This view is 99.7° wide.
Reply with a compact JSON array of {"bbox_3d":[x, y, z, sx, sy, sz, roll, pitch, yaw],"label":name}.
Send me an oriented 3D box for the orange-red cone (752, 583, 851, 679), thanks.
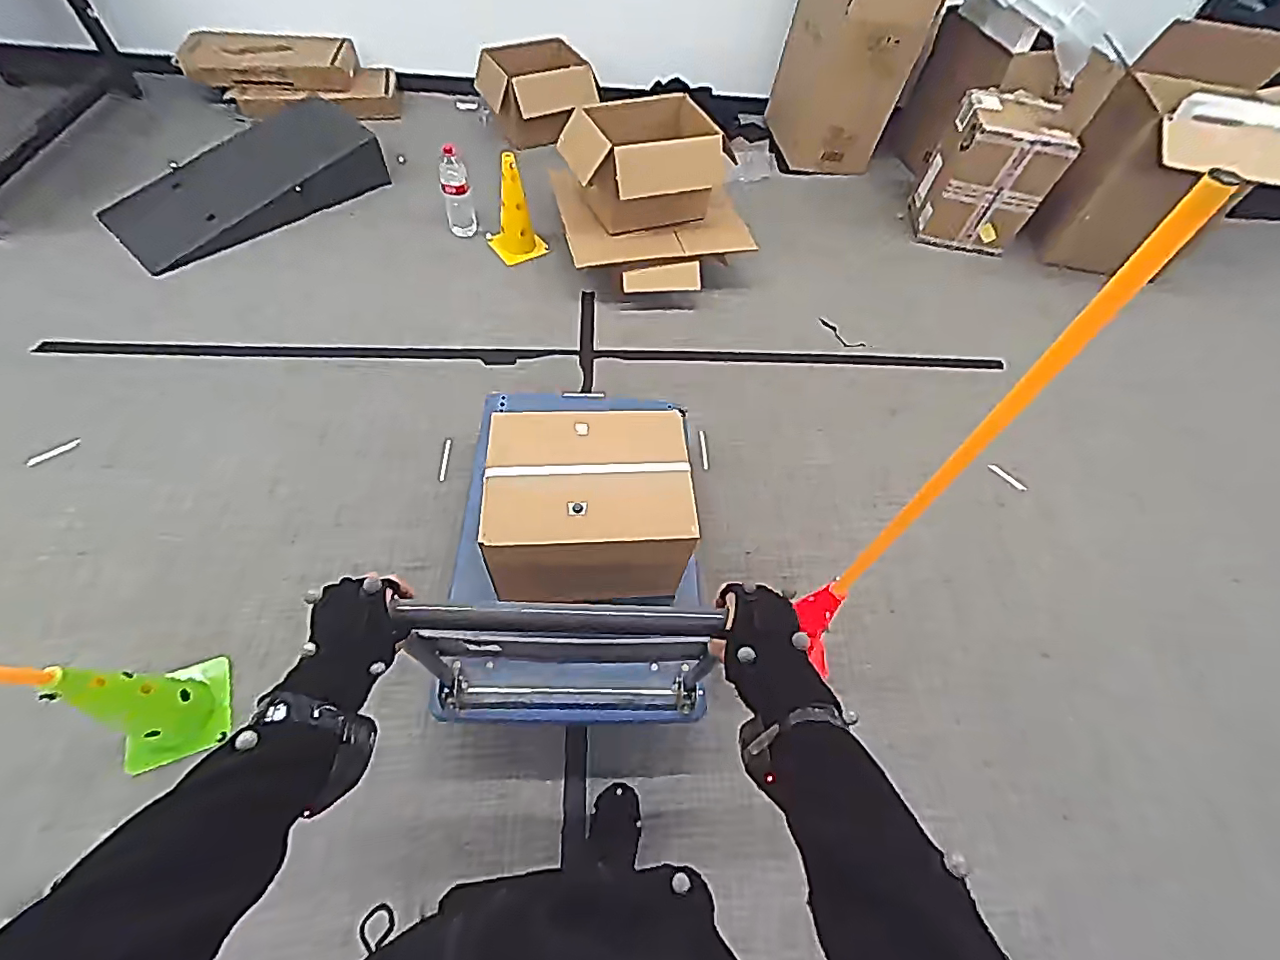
[{"bbox_3d":[0.405,0.321,1.265,0.199,0.360,0.198,6,58,-3],"label":"orange-red cone"}]
